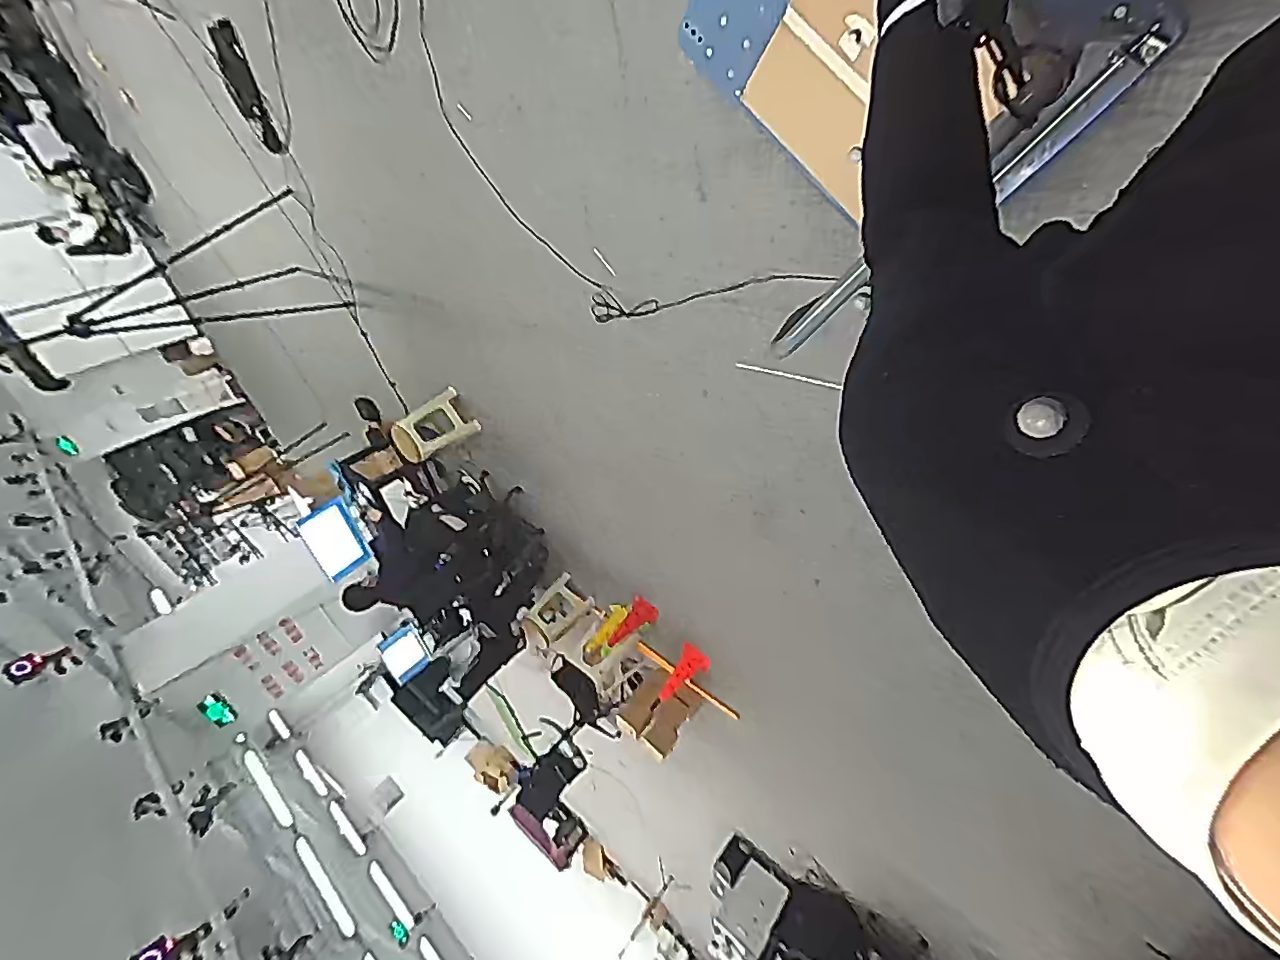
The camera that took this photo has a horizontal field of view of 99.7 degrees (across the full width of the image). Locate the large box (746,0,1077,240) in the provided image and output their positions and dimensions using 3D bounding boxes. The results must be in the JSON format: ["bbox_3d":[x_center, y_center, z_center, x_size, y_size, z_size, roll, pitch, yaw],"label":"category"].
[{"bbox_3d":[0.491,-0.739,1.007,0.408,0.320,0.320,49,145,4],"label":"large box"}]
